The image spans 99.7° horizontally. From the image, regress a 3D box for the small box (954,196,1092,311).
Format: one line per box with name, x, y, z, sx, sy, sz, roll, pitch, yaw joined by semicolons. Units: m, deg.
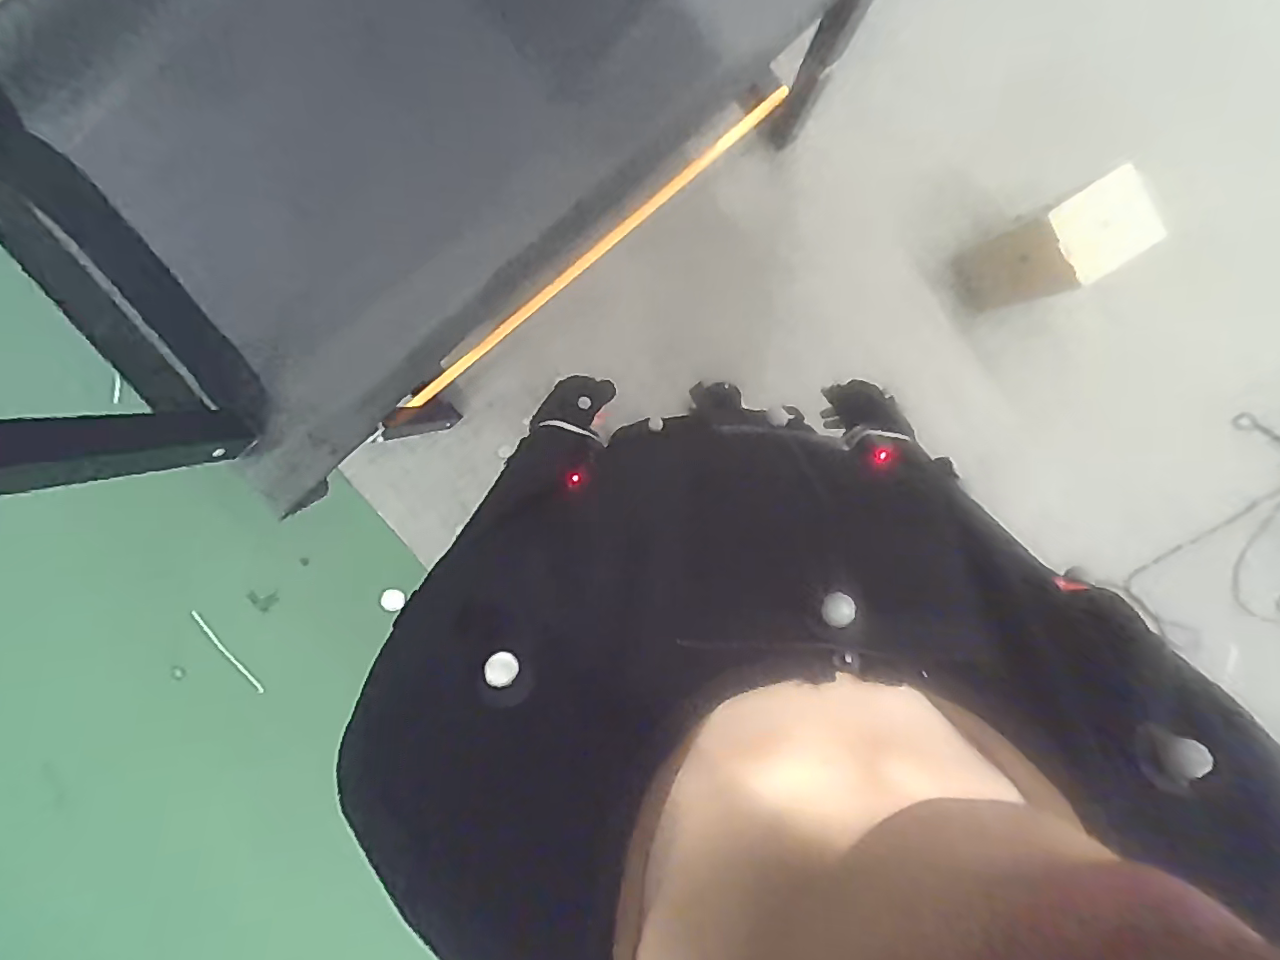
small box;0.899;-0.527;1.285;0.179;0.176;0.168;-32;96;7
